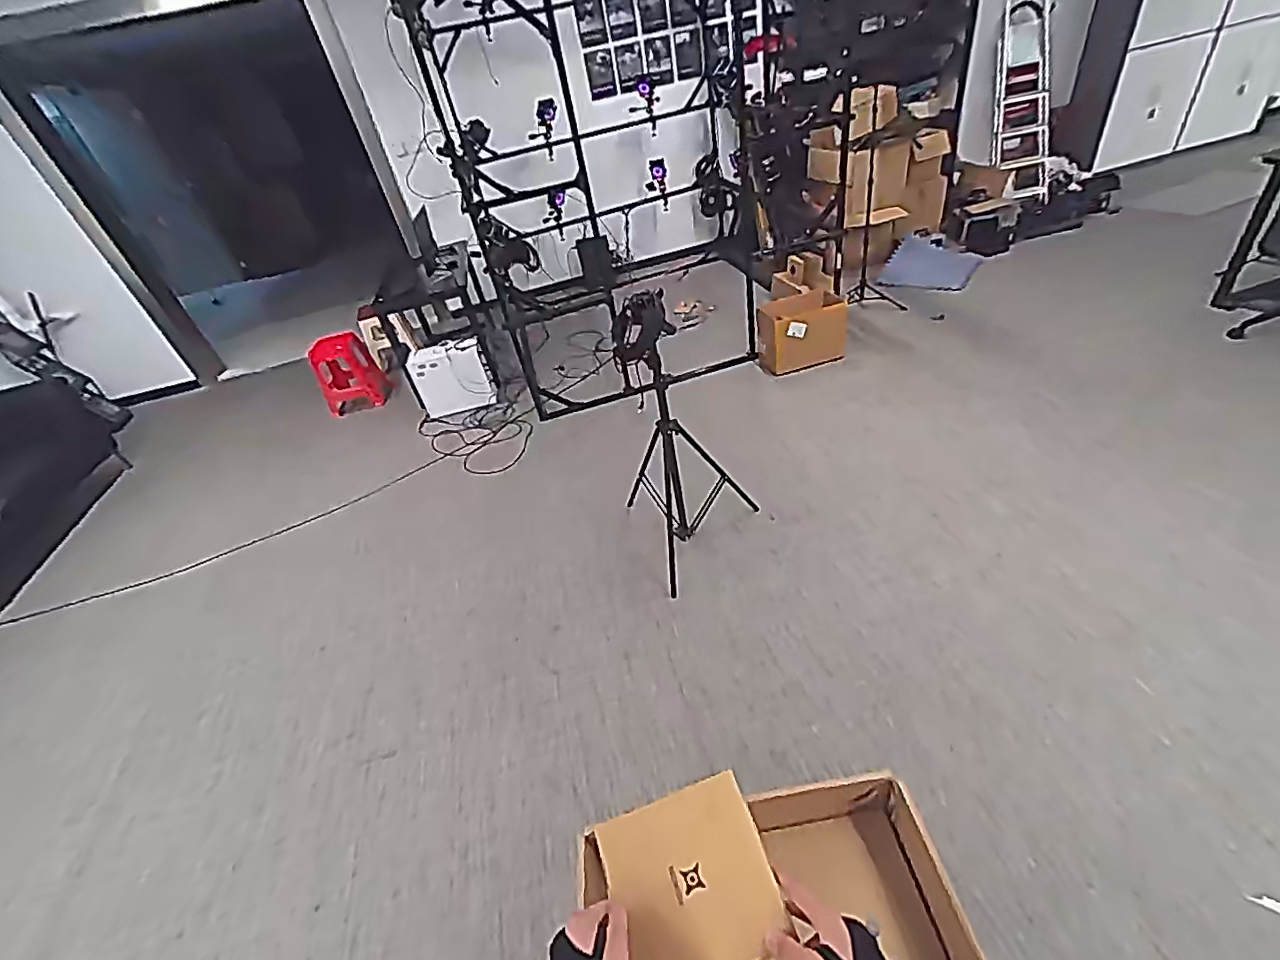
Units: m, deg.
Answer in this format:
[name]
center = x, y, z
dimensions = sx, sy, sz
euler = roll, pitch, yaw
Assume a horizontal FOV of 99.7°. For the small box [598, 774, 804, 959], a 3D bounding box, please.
[small box]
center = 0.073, 0.475, 0.631
dimensions = 0.179, 0.176, 0.168
euler = -24, 49, -1
